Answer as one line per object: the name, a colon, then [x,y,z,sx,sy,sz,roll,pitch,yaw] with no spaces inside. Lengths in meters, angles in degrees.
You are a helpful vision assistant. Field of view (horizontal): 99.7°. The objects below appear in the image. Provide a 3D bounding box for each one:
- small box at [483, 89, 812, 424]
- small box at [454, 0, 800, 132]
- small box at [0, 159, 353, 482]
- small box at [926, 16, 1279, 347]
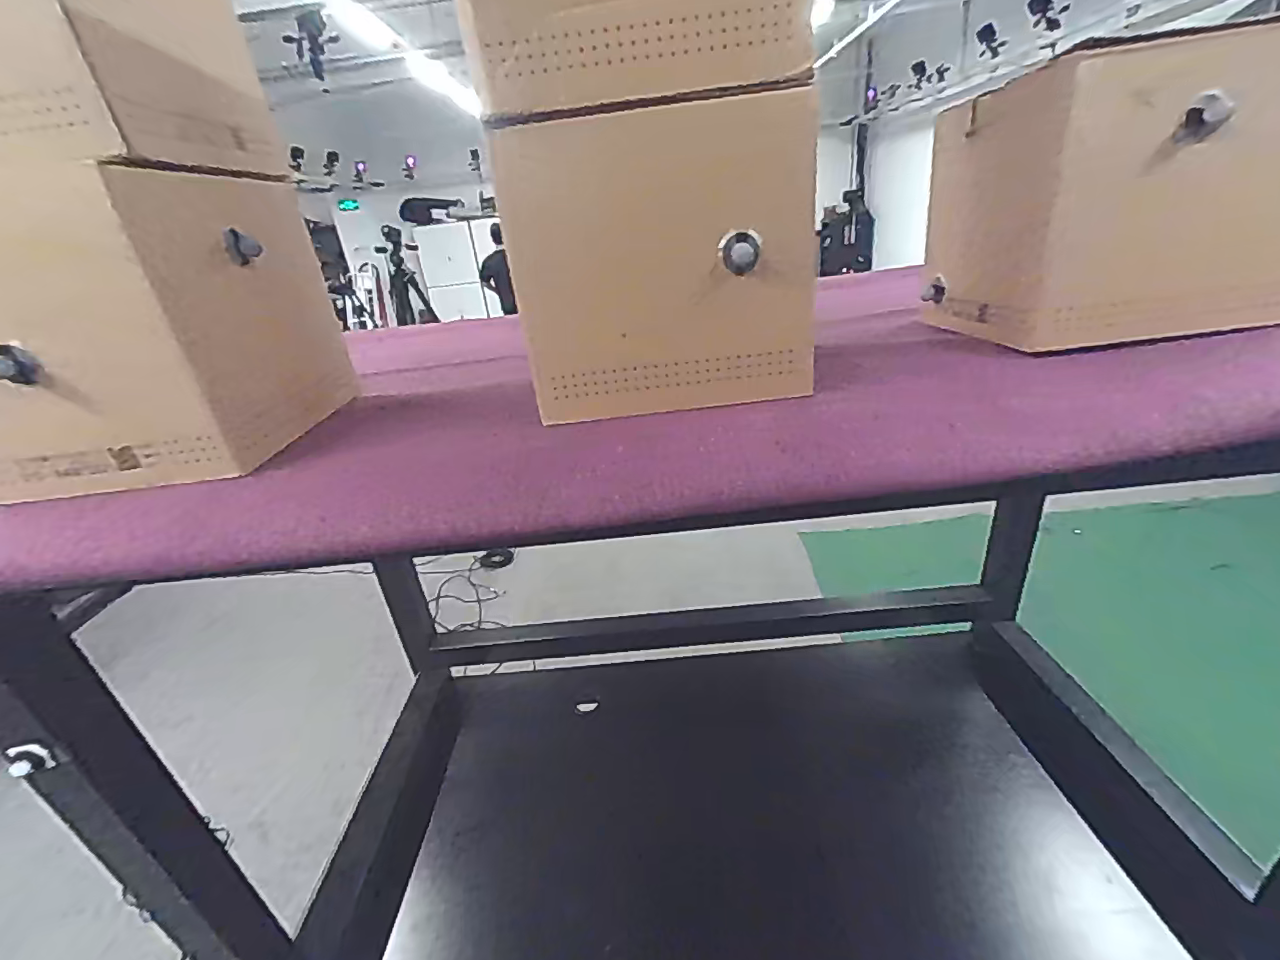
small box: [0.011,-0.150,0.385,0.179,0.176,0.168,-7,25,2]
small box: [-0.013,-0.297,0.318,0.179,0.176,0.168,-7,25,-1]
small box: [-0.328,-0.105,0.367,0.168,0.176,0.179,-6,26,0]
small box: [0.331,-0.199,0.397,0.179,0.176,0.168,-5,23,4]
